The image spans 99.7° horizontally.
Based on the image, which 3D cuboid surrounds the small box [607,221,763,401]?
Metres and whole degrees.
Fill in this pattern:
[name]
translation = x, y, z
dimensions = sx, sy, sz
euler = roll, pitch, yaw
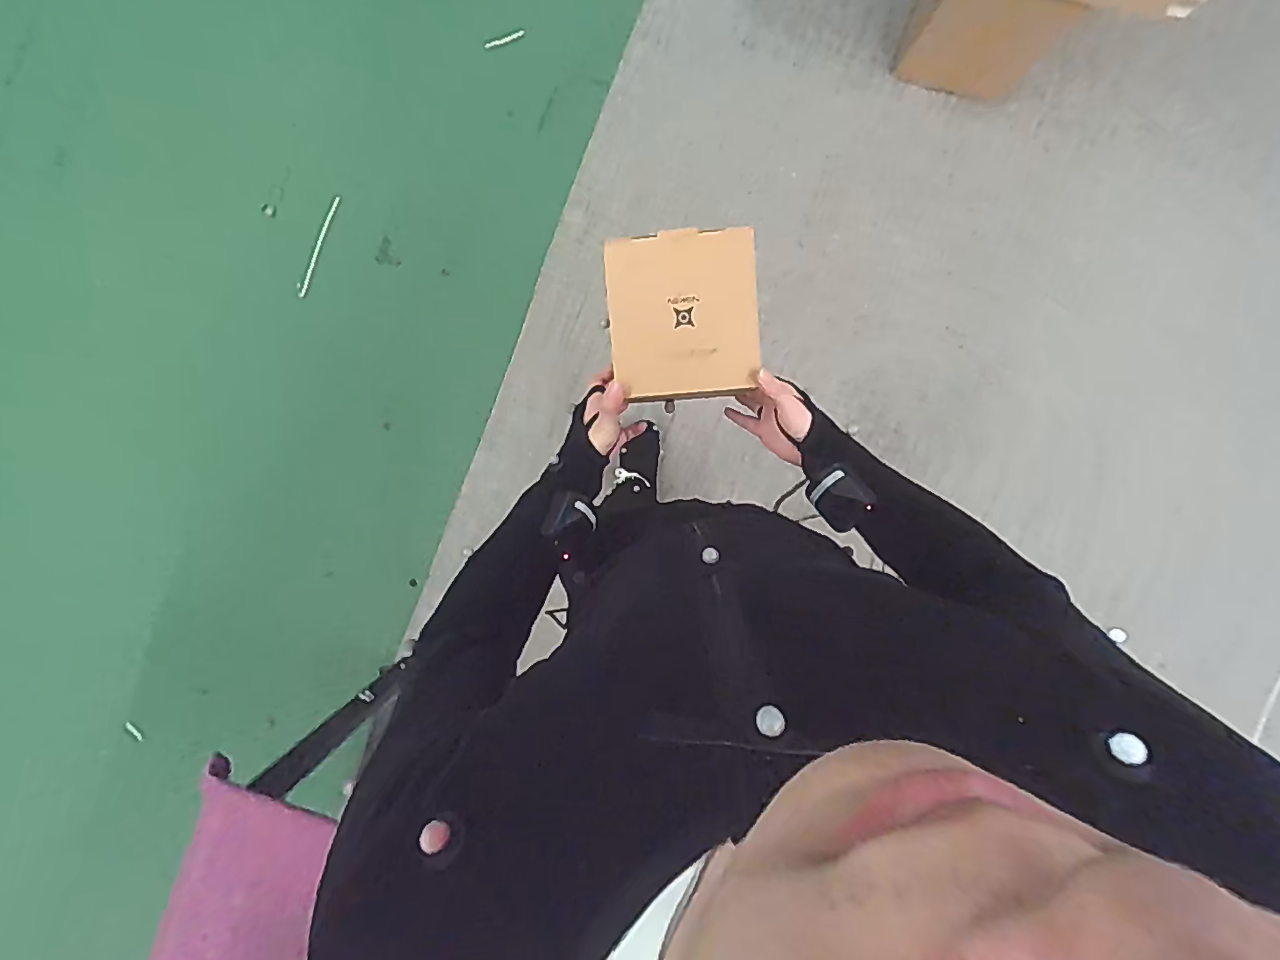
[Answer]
[small box]
translation = 0.049, -0.192, 0.658
dimensions = 0.168, 0.176, 0.179
euler = -3, 96, 2
